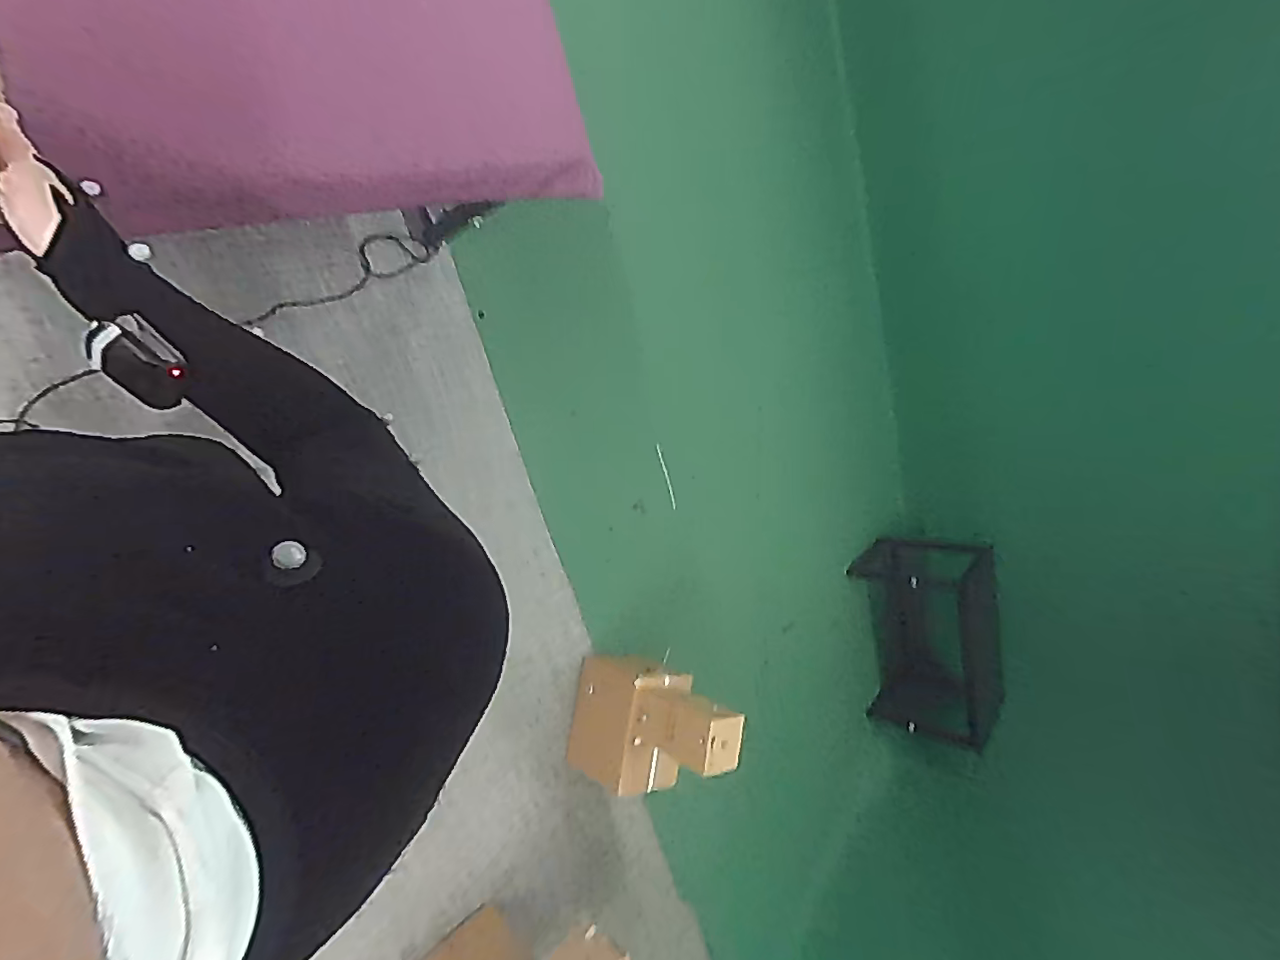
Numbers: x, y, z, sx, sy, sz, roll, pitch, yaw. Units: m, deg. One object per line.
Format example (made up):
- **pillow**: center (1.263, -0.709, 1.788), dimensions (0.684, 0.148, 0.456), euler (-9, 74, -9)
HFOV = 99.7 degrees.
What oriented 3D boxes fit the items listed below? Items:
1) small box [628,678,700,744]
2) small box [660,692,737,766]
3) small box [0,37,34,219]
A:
- **small box**: center (0.087, 0.807, 1.907), dimensions (0.179, 0.176, 0.168), euler (15, 81, -42)
- **small box**: center (0.193, 0.810, 1.782), dimensions (0.179, 0.176, 0.168), euler (15, 82, -43)
- **small box**: center (-0.642, -0.332, 0.446), dimensions (0.168, 0.176, 0.179), euler (-10, 106, -43)
